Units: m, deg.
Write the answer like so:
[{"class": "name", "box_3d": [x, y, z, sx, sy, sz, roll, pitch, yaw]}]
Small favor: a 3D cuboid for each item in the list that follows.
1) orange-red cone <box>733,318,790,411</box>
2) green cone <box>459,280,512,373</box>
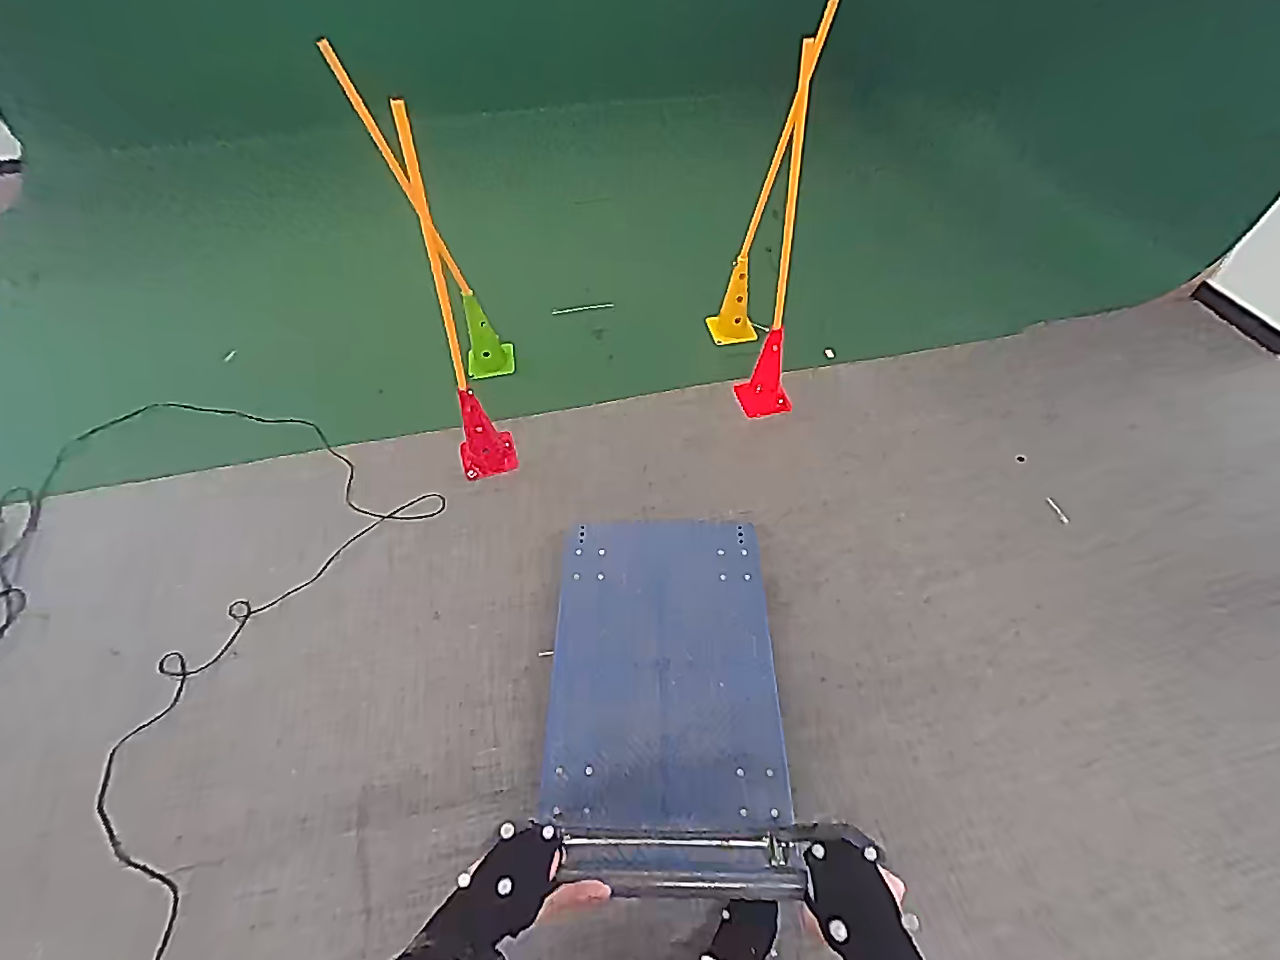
[{"class": "orange-red cone", "box_3d": [0.491, -0.462, 2.071, 0.198, 0.360, 0.199, -10, 52, -7]}, {"class": "green cone", "box_3d": [-0.672, -0.652, 2.236, 0.200, 0.368, 0.202, -11, 53, -6]}]
